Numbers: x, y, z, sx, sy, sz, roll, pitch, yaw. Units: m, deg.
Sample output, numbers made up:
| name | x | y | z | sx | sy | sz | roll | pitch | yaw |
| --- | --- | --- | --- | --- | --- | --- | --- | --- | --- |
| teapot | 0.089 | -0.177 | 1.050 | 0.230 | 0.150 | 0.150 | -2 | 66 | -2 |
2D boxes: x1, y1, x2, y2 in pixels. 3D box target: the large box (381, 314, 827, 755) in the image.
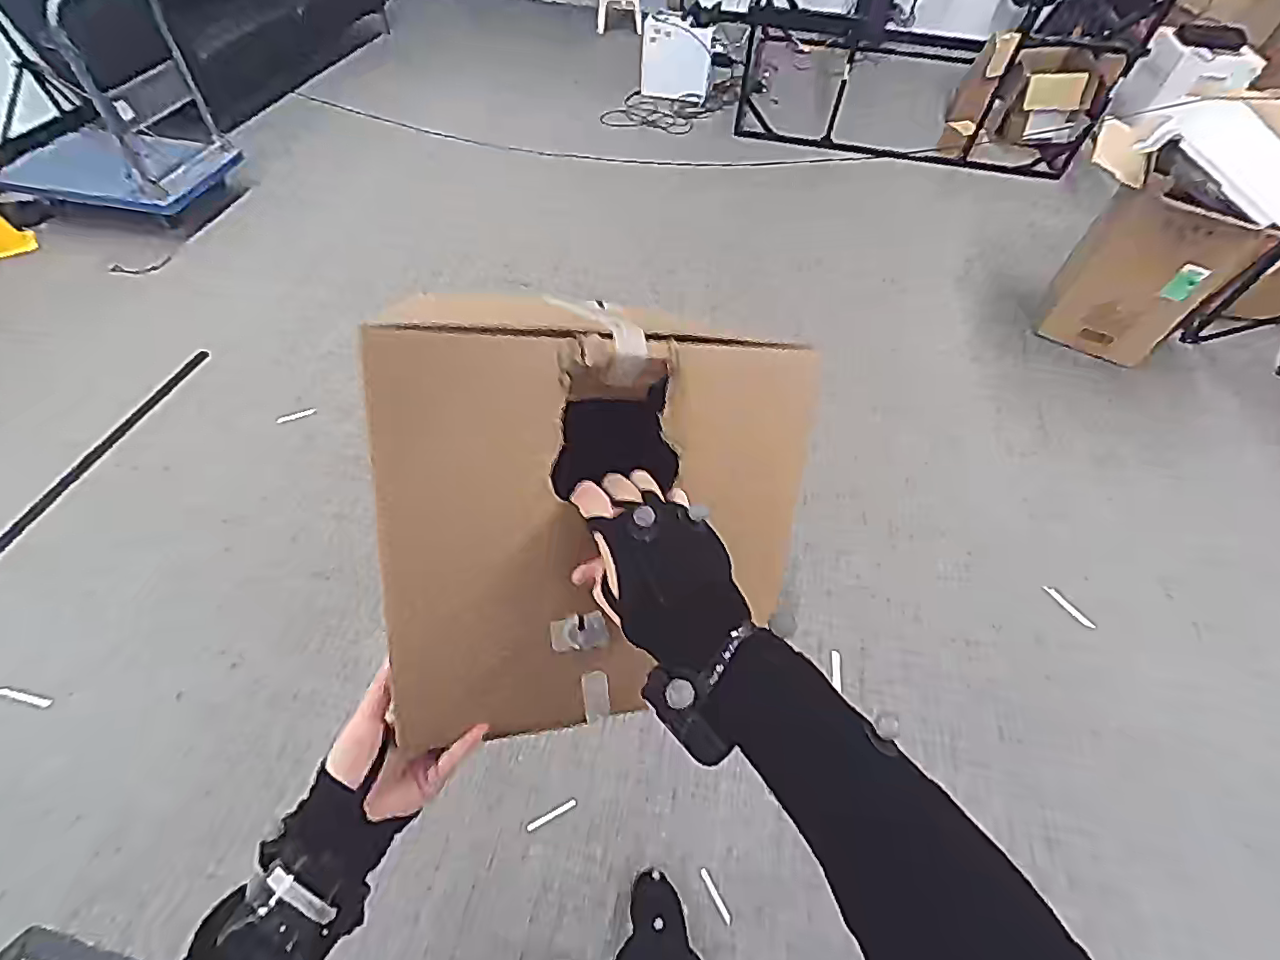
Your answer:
| name | x | y | z | sx | sy | sz | roll | pitch | yaw |
| --- | --- | --- | --- | --- | --- | --- | --- | --- | --- |
| large box | -0.071 | 0.000 | 0.573 | 0.320 | 0.320 | 0.408 | -1 | 18 | -18 |
